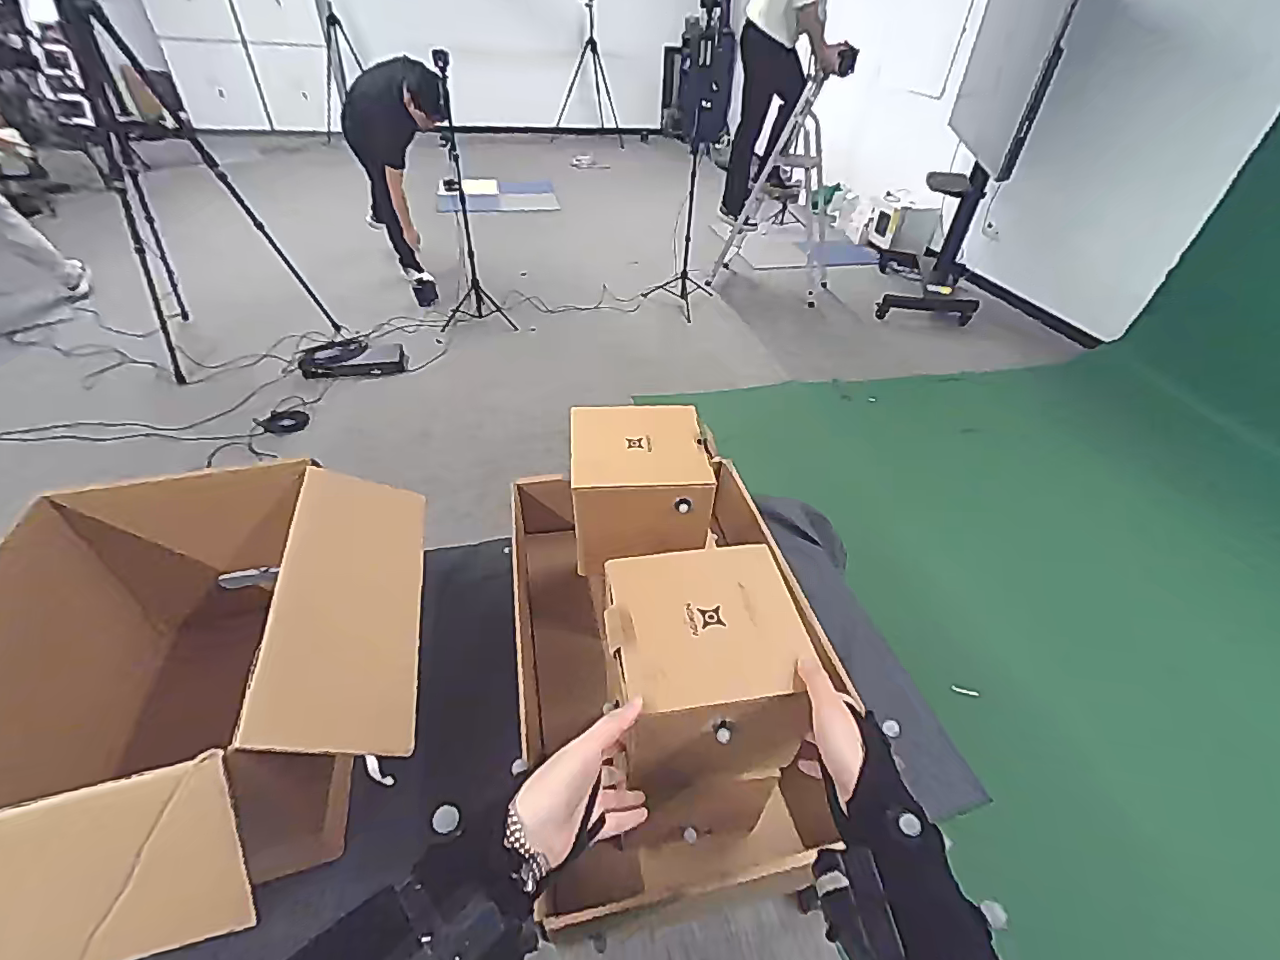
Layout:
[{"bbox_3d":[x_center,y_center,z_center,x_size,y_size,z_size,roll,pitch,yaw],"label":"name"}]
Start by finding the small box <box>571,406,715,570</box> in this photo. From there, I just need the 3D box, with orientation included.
[{"bbox_3d":[-0.005,0.013,0.755,0.179,0.176,0.168,-1,43,-6],"label":"small box"}]

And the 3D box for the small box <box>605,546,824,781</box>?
[{"bbox_3d":[0.059,0.191,0.565,0.179,0.176,0.168,-4,43,-10],"label":"small box"}]
